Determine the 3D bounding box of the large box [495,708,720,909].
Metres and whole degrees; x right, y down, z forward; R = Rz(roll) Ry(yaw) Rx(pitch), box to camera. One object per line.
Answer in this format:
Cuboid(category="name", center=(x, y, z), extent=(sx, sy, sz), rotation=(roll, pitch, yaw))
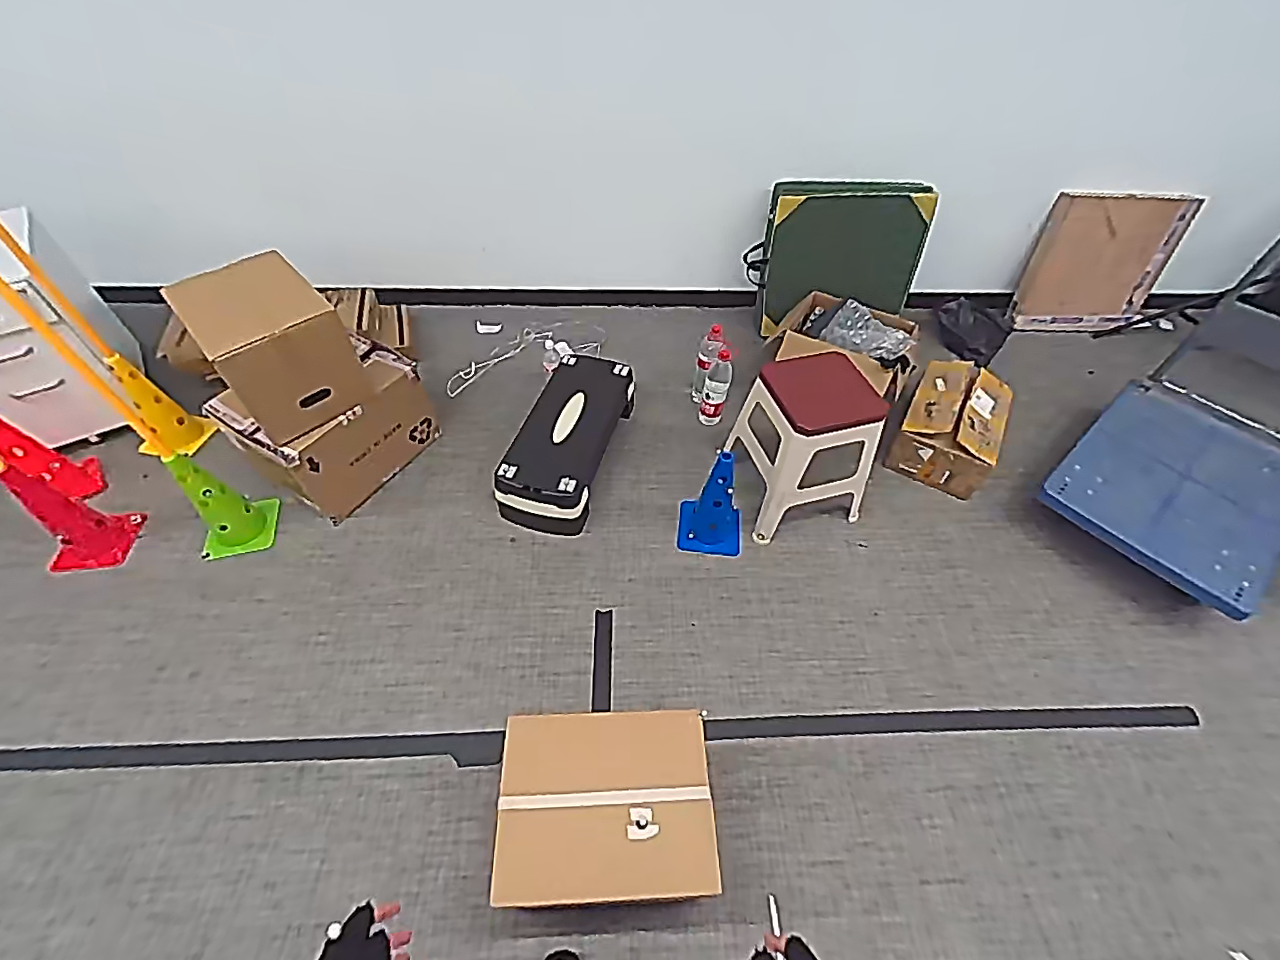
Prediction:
Cuboid(category="large box", center=(-0.073, 0.699, 1.151), extent=(0.408, 0.320, 0.320), rotation=(0, 52, -4))
